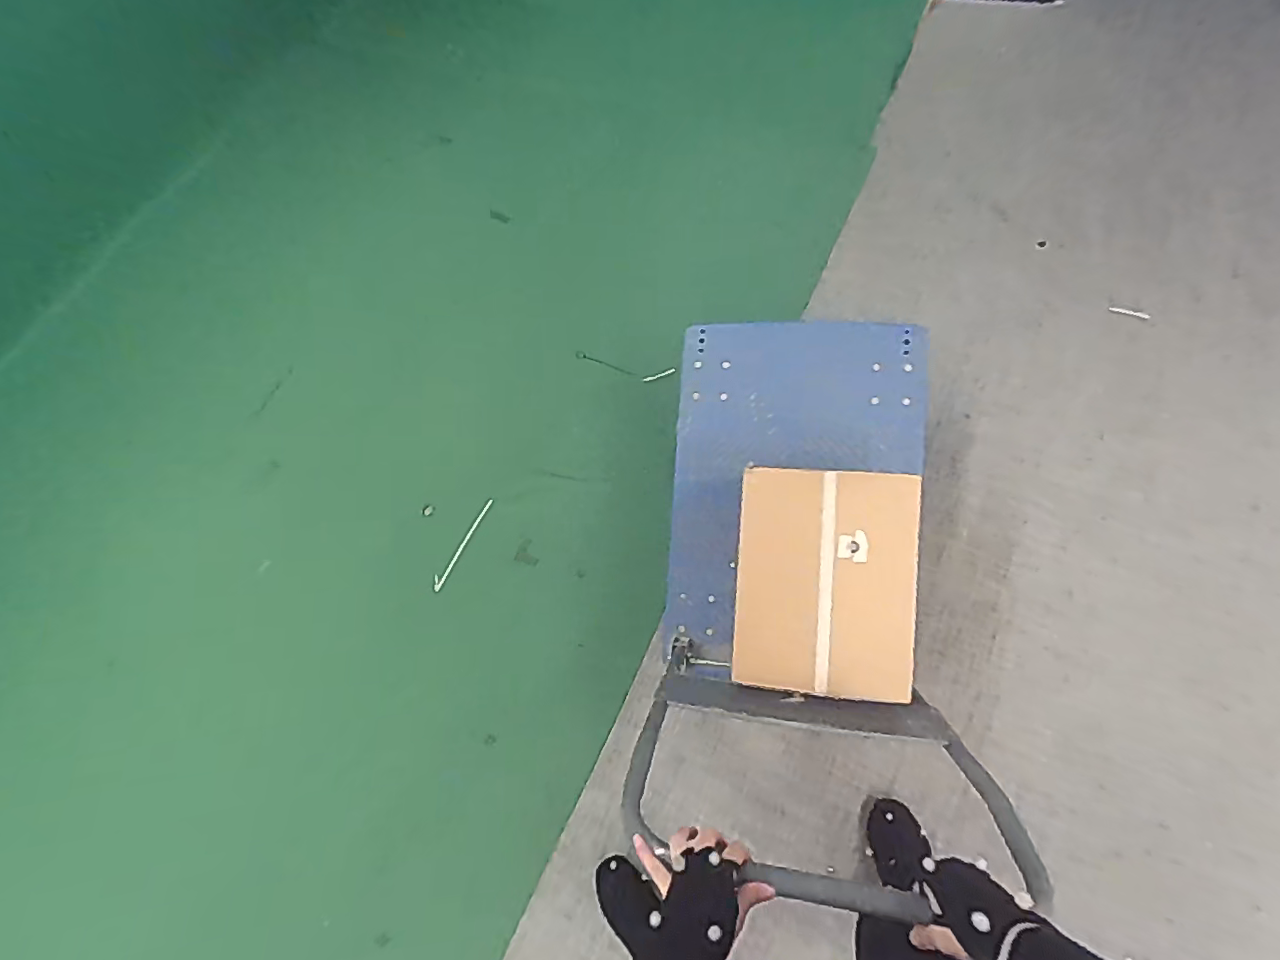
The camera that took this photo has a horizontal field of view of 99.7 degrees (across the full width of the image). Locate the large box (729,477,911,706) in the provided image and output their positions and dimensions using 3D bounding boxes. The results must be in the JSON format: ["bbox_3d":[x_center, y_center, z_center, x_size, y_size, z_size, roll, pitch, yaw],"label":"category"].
[{"bbox_3d":[0.364,0.213,1.149,0.320,0.320,0.408,4,86,11],"label":"large box"}]
